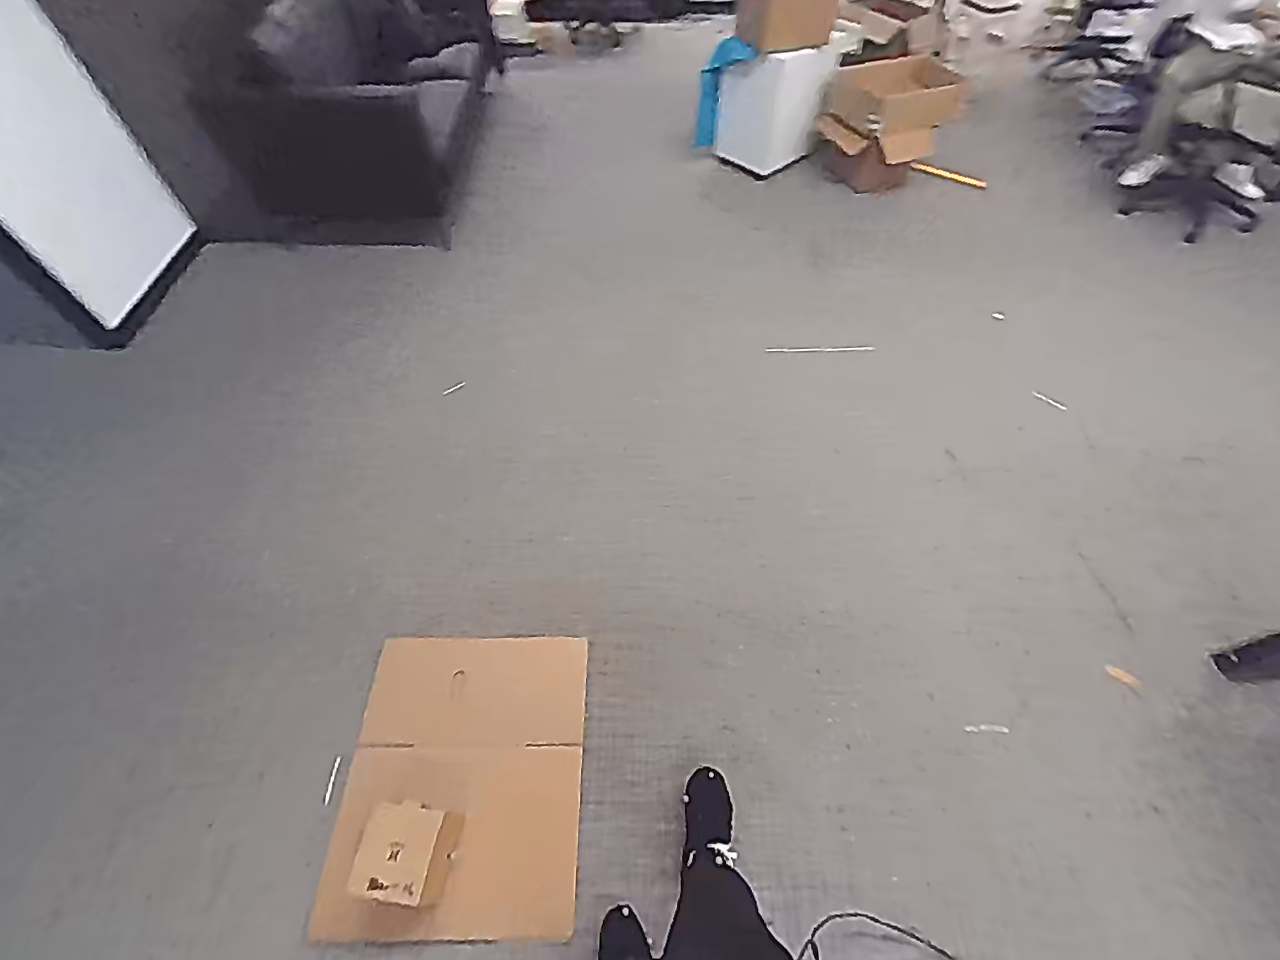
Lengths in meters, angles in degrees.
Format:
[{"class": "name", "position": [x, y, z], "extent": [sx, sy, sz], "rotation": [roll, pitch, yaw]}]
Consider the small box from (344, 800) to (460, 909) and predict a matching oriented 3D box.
[{"class": "small box", "position": [-0.530, 0.856, 1.239], "extent": [0.168, 0.176, 0.179], "rotation": [7, 55, 5]}]
